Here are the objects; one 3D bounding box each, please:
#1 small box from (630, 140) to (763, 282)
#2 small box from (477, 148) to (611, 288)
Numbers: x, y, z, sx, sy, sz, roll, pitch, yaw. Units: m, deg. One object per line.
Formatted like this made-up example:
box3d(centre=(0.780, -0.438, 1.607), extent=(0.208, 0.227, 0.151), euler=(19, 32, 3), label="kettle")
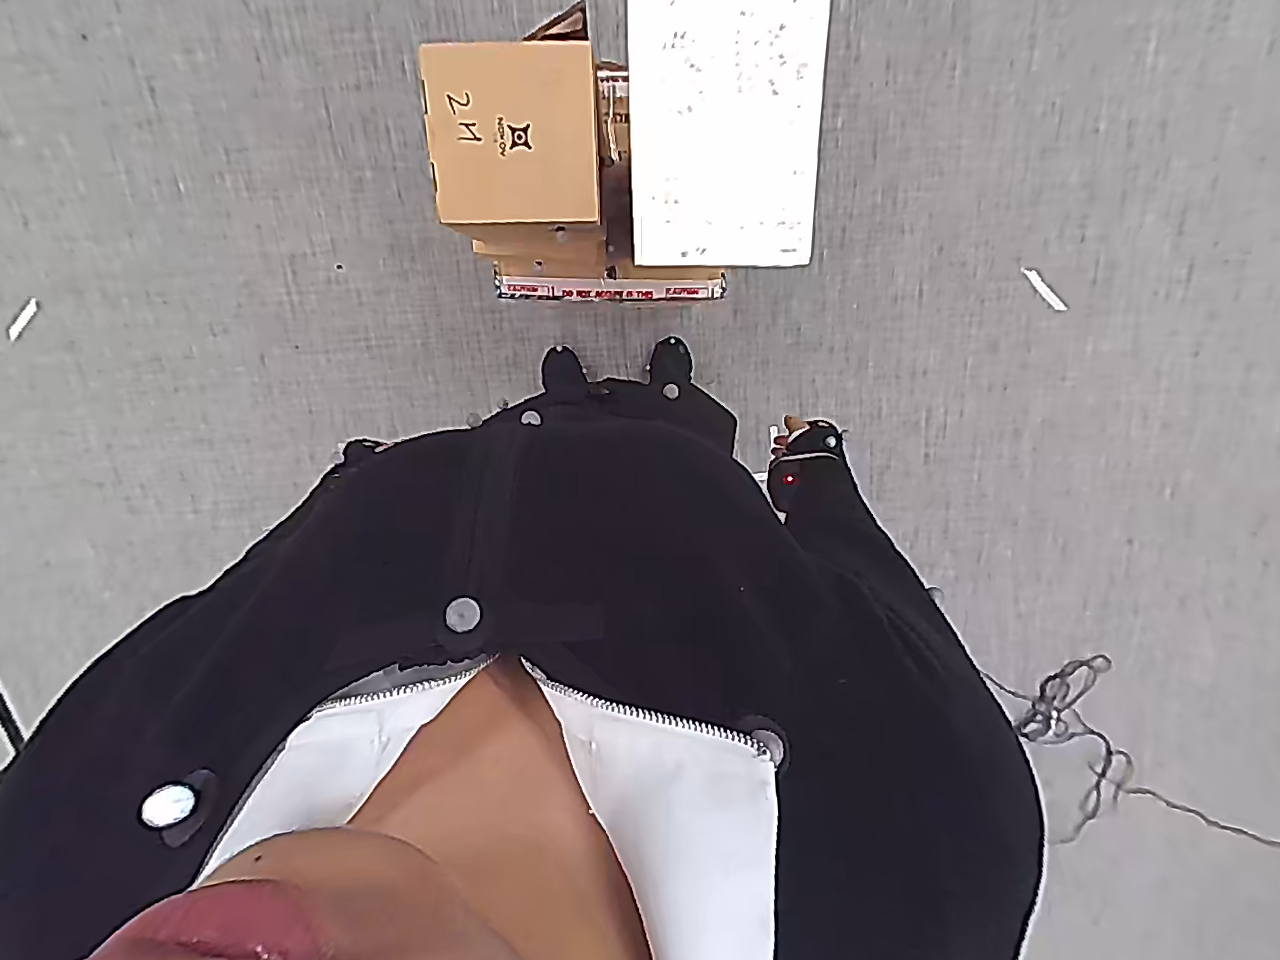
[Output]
box3d(centre=(0.080, -0.398, 0.825), extent=(0.179, 0.176, 0.168), euler=(-5, 107, 0), label="small box")
box3d(centre=(-0.137, -0.386, 0.823), extent=(0.179, 0.176, 0.168), euler=(4, 107, 0), label="small box")
